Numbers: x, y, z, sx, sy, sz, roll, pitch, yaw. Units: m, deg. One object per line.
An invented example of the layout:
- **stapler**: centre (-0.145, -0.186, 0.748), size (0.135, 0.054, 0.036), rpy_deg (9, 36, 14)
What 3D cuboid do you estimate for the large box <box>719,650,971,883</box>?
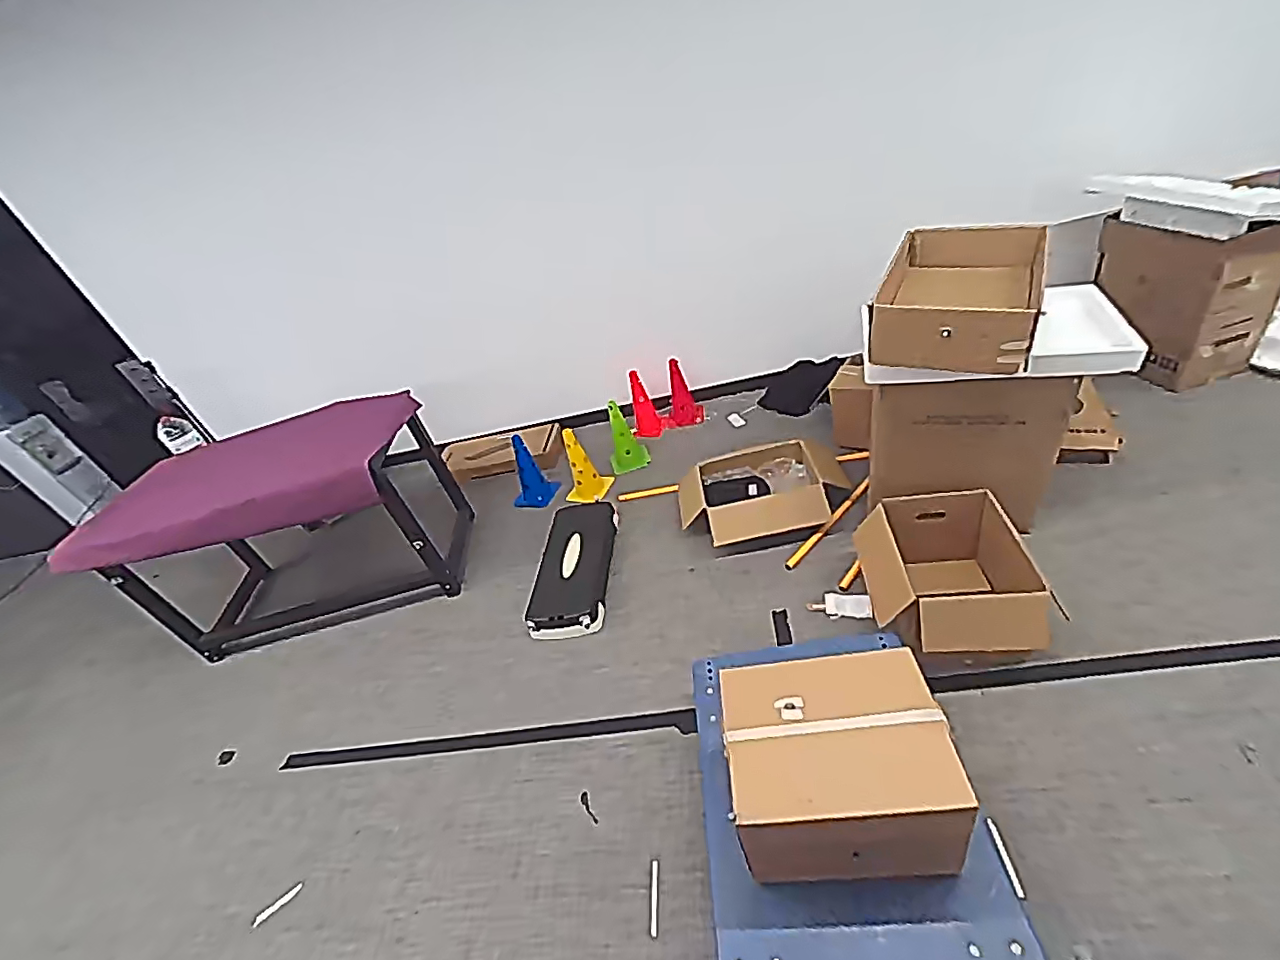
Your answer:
- **large box**: centre (0.405, 0.606, 1.140), size (0.408, 0.320, 0.320), rpy_deg (-12, 35, 10)
